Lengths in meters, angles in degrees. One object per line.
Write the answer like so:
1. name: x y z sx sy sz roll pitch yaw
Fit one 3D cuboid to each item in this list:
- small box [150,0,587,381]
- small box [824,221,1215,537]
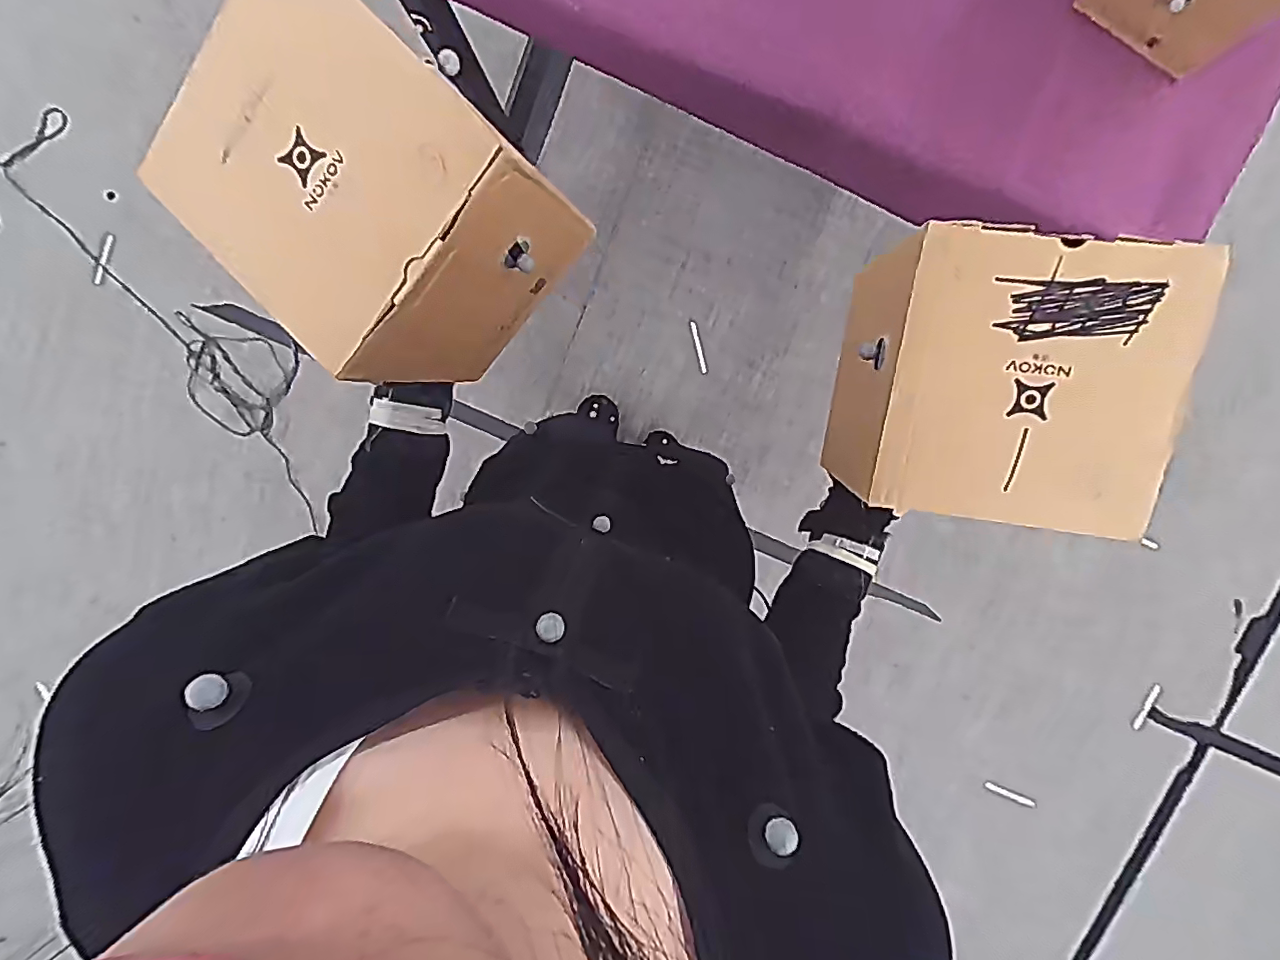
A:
1. small box: -0.164 -0.189 0.379 0.179 0.176 0.168 45 105 2
2. small box: 0.249 -0.074 0.411 0.168 0.176 0.179 8 102 6
